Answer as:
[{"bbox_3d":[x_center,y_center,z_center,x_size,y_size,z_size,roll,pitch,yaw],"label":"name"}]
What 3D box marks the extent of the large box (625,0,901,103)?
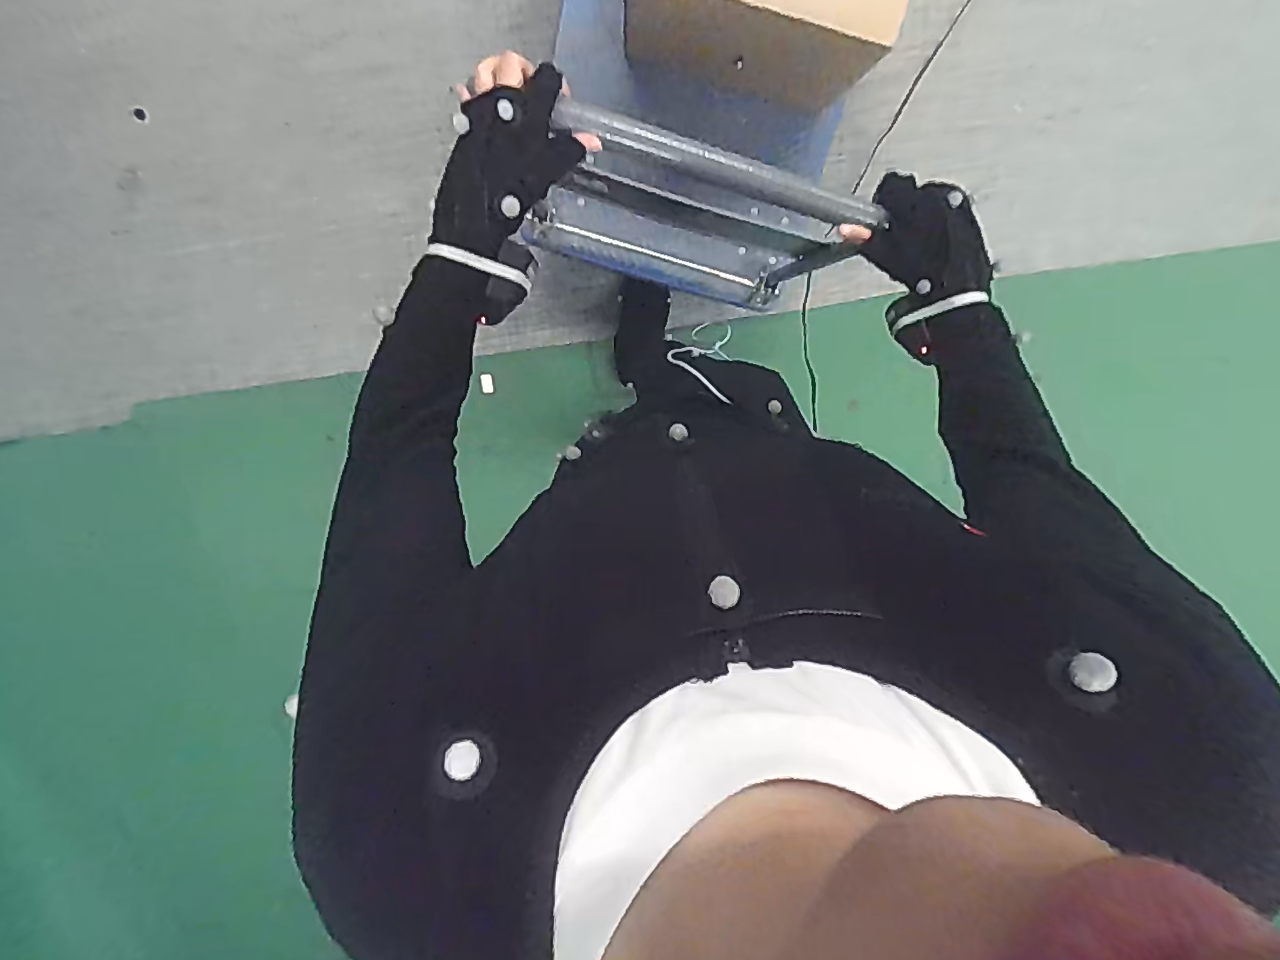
[{"bbox_3d":[0.203,-0.870,0.868,0.408,0.320,0.320,12,107,-5],"label":"large box"}]
